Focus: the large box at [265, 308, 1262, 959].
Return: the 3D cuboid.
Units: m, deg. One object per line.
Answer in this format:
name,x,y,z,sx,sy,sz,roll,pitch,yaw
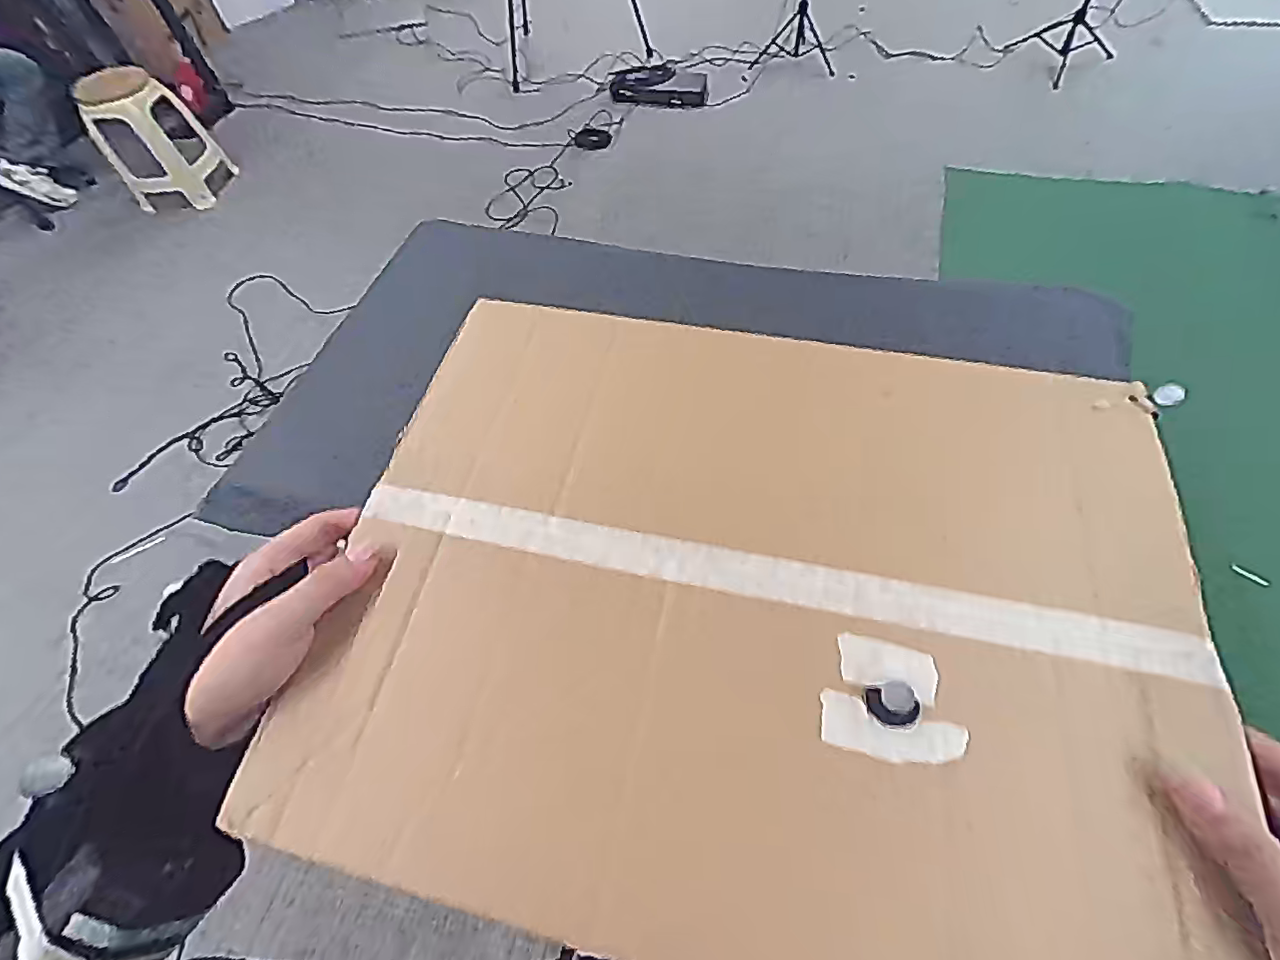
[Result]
large box,0.061,0.110,0.411,0.408,0.320,0.320,9,62,8
